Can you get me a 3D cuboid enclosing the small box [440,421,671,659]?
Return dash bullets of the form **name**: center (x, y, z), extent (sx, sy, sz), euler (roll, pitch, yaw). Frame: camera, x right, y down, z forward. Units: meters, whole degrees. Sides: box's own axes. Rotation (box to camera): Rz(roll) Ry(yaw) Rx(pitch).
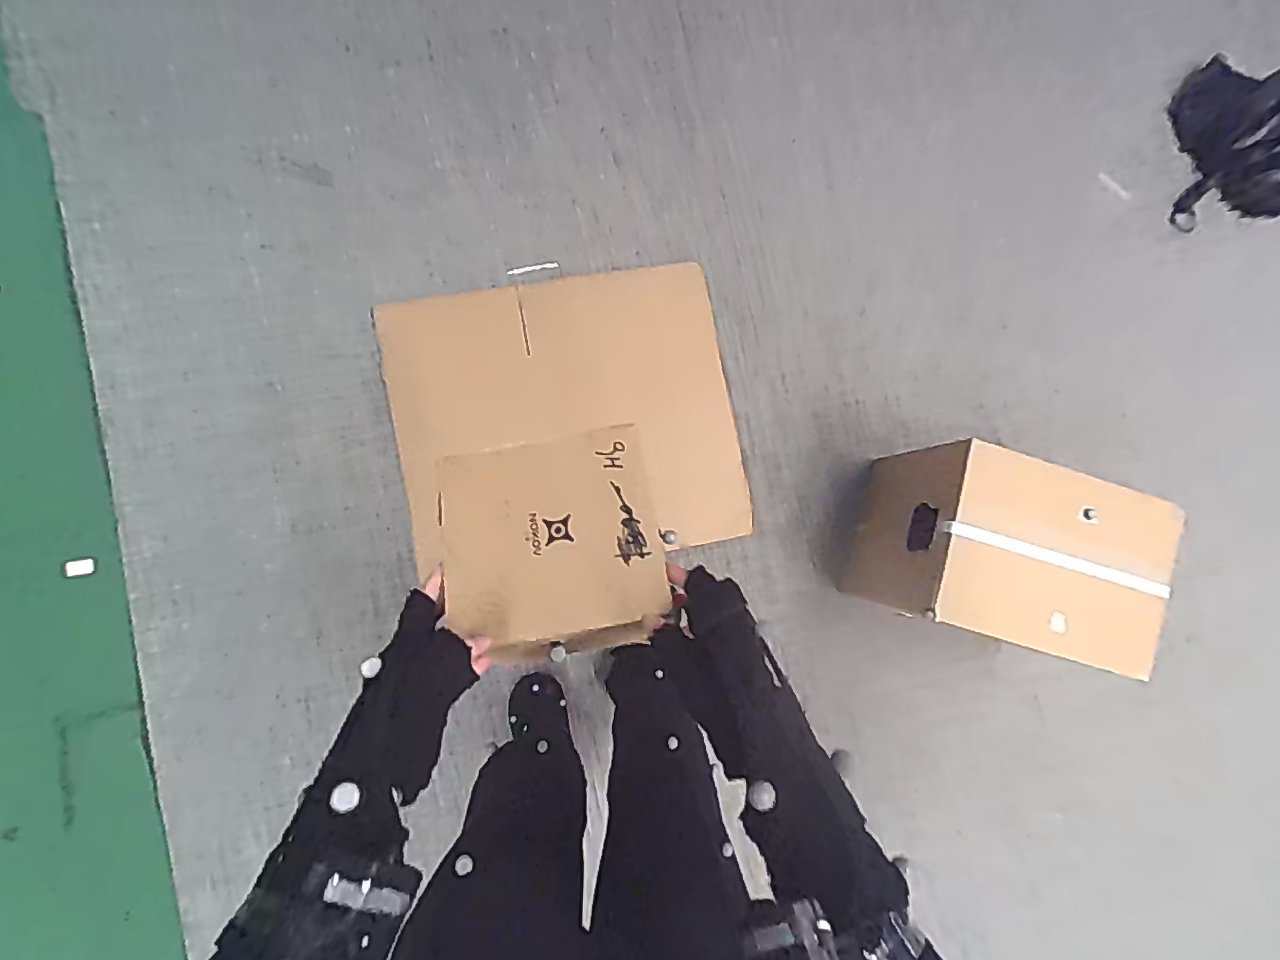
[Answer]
- **small box**: center (-0.072, 0.069, 0.526), extent (0.179, 0.176, 0.168), euler (-13, 67, -2)
